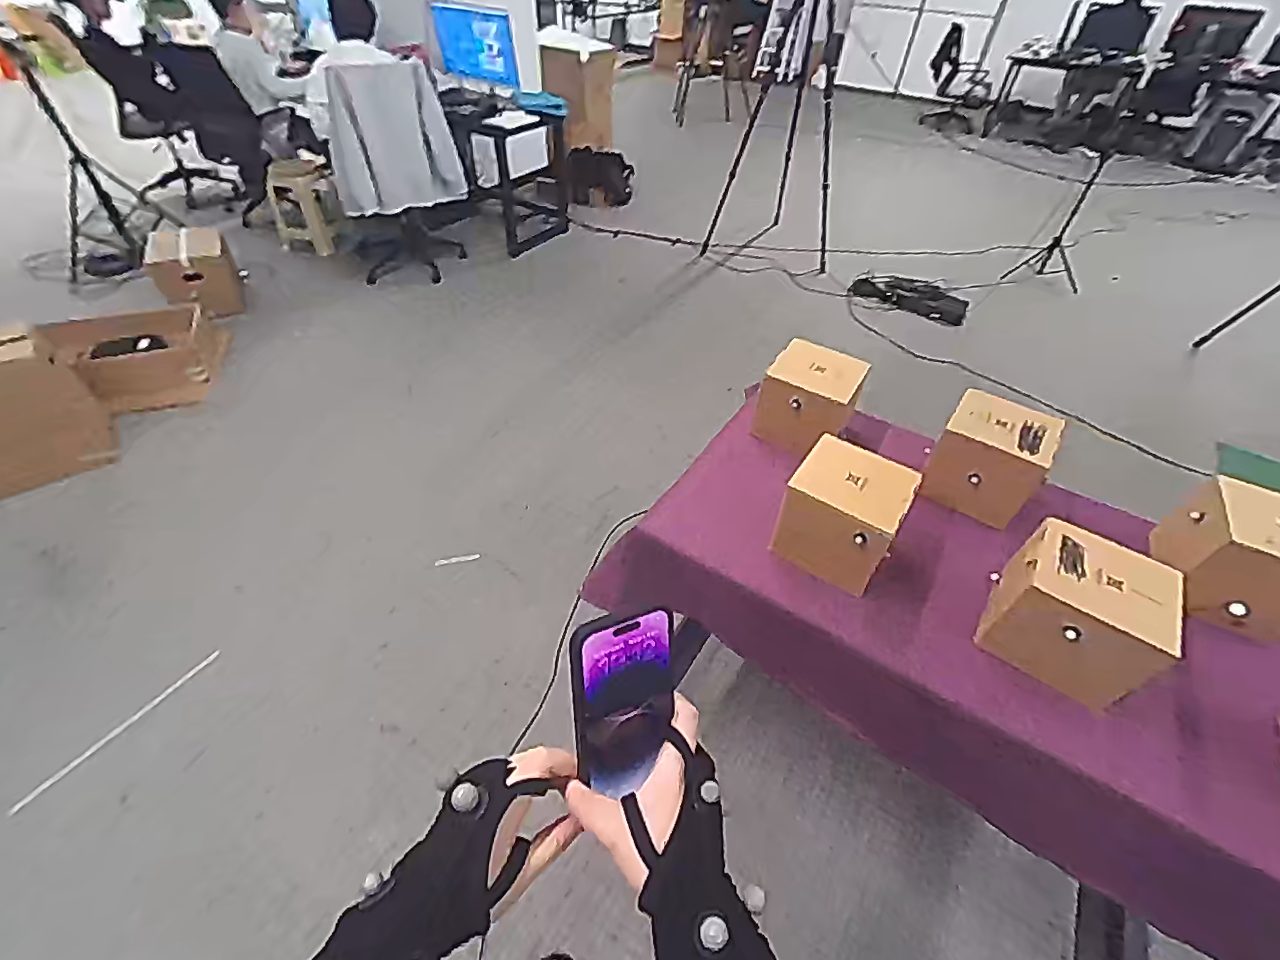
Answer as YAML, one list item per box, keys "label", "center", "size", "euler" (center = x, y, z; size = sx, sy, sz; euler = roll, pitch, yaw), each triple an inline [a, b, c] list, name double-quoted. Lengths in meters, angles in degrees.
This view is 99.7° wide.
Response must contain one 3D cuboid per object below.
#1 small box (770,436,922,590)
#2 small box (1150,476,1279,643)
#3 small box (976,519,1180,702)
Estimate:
- label: "small box"
  center: [0.348, 0.058, 0.939]
  size: [0.179, 0.176, 0.168]
  euler: [29, 50, 22]
- label: "small box"
  center: [0.997, 0.131, 0.896]
  size: [0.168, 0.176, 0.179]
  euler: [25, 49, 21]
- label: "small box"
  center: [0.647, 0.198, 0.814]
  size: [0.179, 0.176, 0.168]
  euler: [30, 51, 24]
